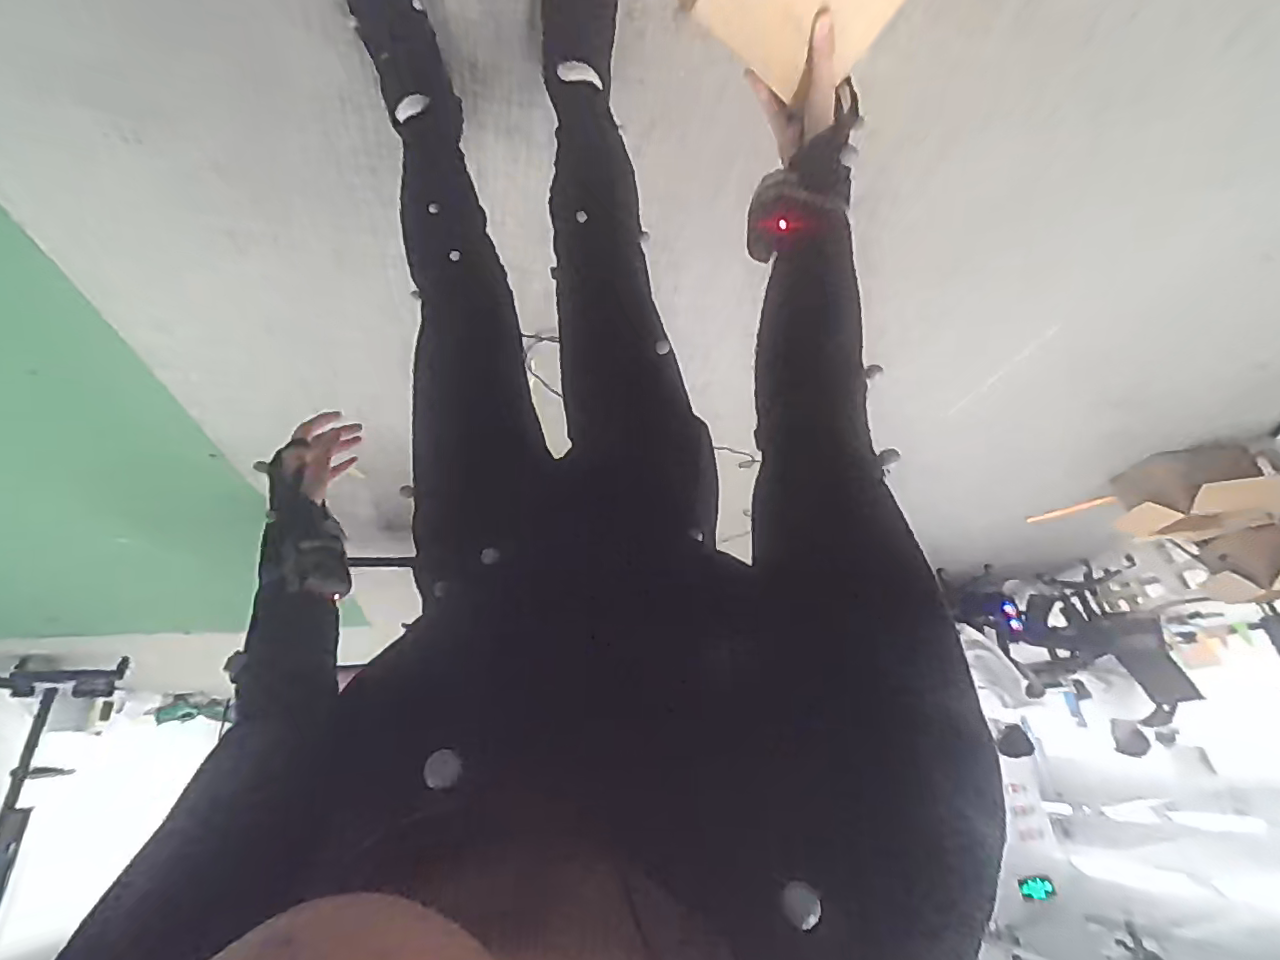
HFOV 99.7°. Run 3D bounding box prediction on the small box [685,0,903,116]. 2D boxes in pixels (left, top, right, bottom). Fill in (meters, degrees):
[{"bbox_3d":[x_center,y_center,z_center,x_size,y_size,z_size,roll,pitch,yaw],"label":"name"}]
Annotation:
[{"bbox_3d":[0.123,-0.466,0.449,0.168,0.176,0.179,7,140,-42],"label":"small box"}]
